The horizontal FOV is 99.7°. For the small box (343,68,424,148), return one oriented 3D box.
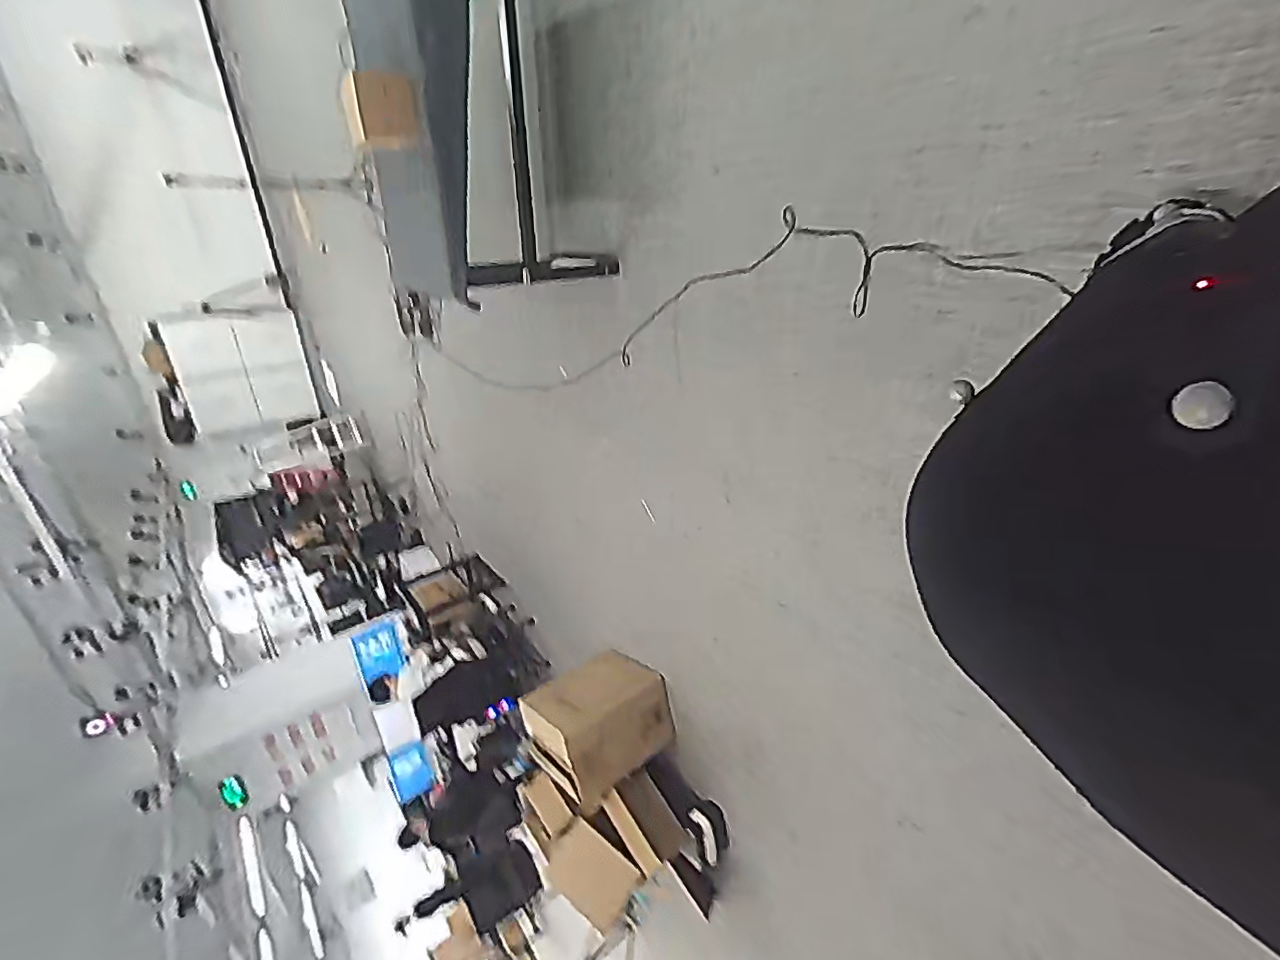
[{"bbox_3d":[-0.798,-1.153,1.689,0.168,0.176,0.179,27,128,47],"label":"small box"}]
